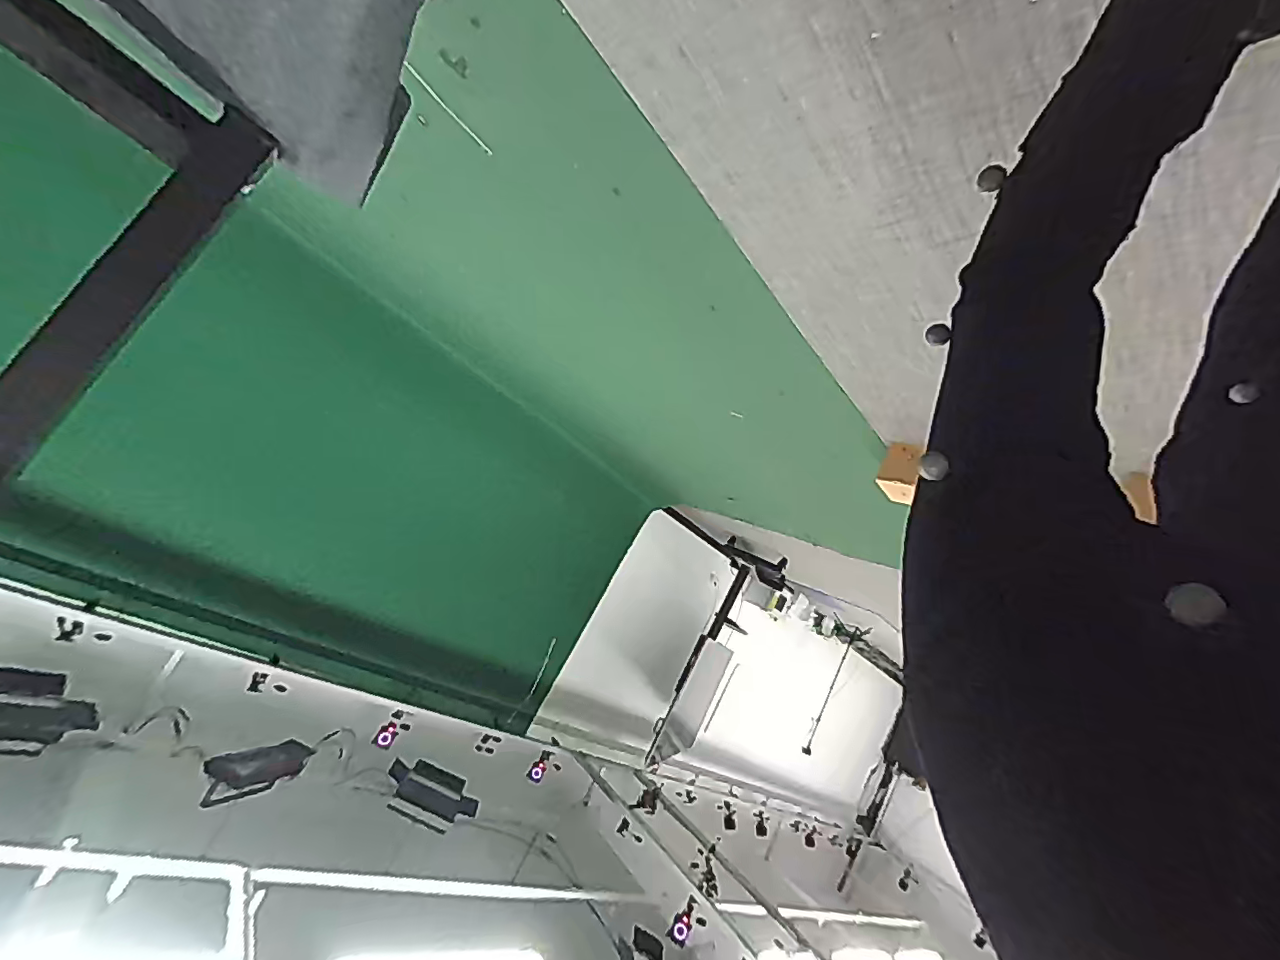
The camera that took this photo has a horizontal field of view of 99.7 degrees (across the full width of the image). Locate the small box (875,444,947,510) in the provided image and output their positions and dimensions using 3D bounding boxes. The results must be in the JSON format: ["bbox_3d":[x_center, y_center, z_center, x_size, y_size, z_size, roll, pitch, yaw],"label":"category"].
[{"bbox_3d":[1.021,-0.013,2.029,0.179,0.176,0.168,38,166,-35],"label":"small box"}]
